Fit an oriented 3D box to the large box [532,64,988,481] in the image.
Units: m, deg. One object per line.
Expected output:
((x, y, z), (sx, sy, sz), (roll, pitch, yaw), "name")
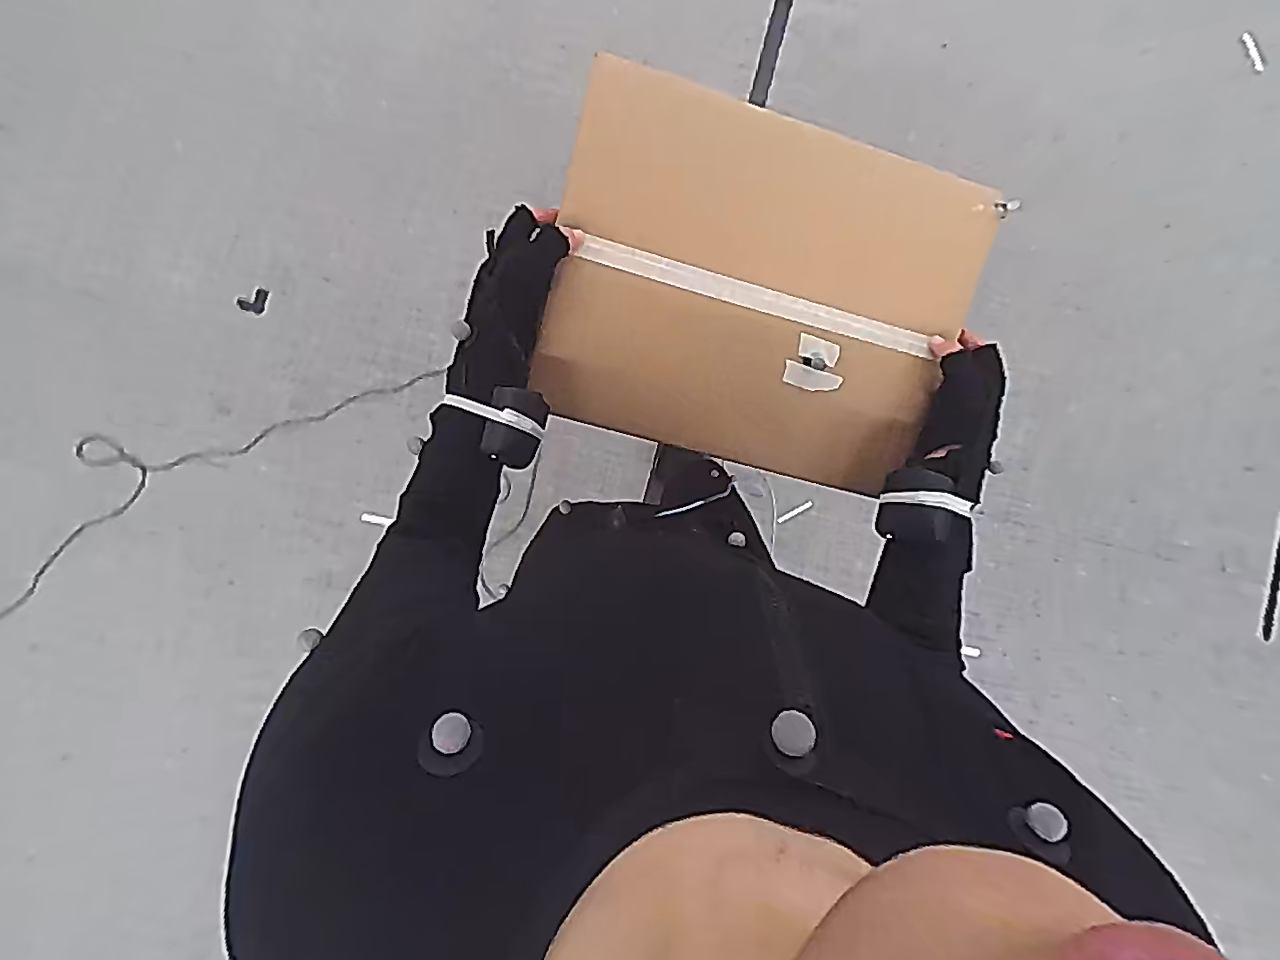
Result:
((0.103, -0.213, 0.677), (0.408, 0.320, 0.320), (14, 100, -8), "large box")
